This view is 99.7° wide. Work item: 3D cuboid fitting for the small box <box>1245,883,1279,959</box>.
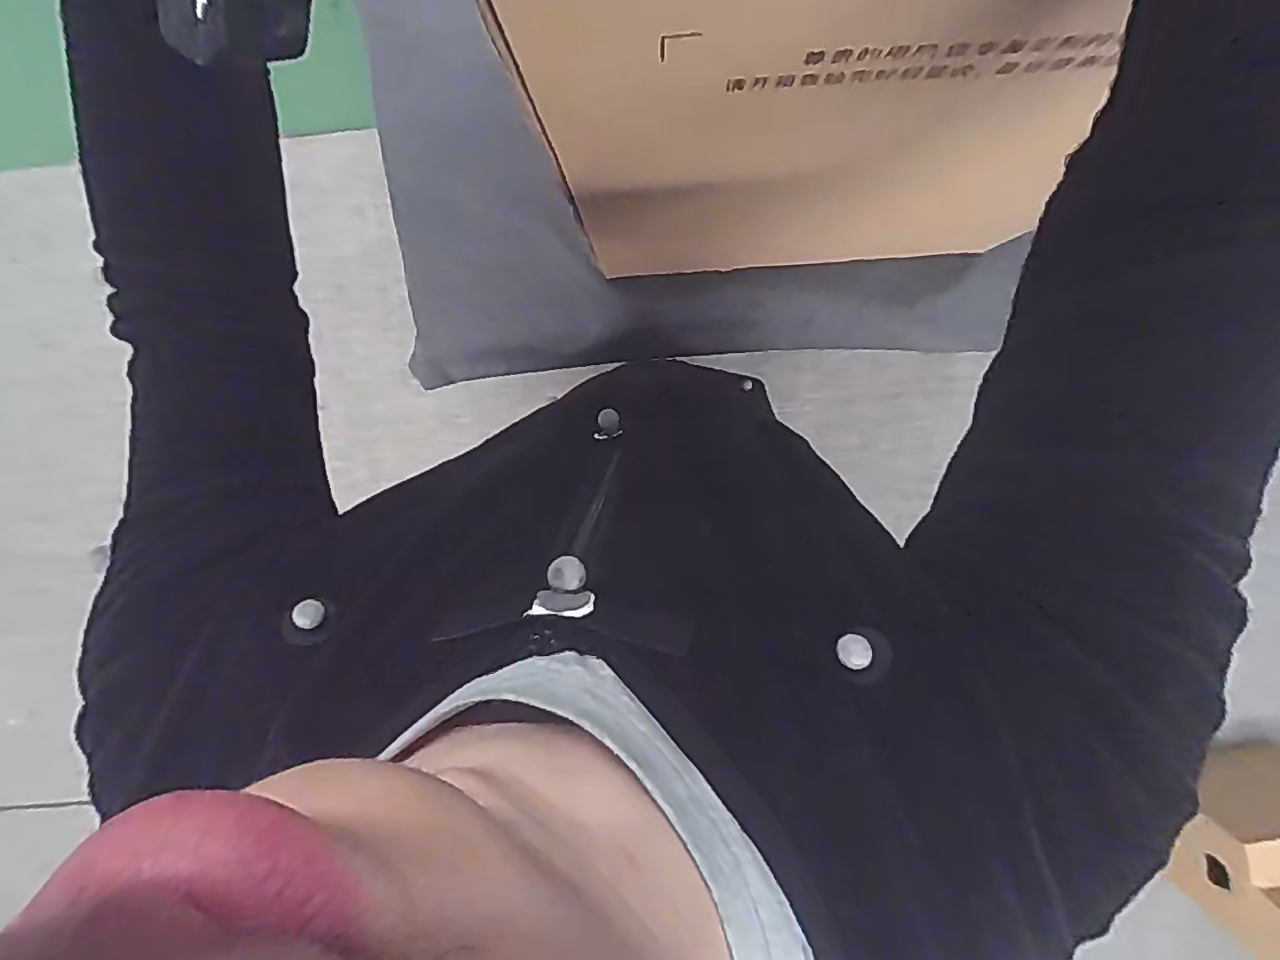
[{"bbox_3d":[1.609,1.095,1.282,0.168,0.176,0.179,-6,99,1],"label":"small box"}]
